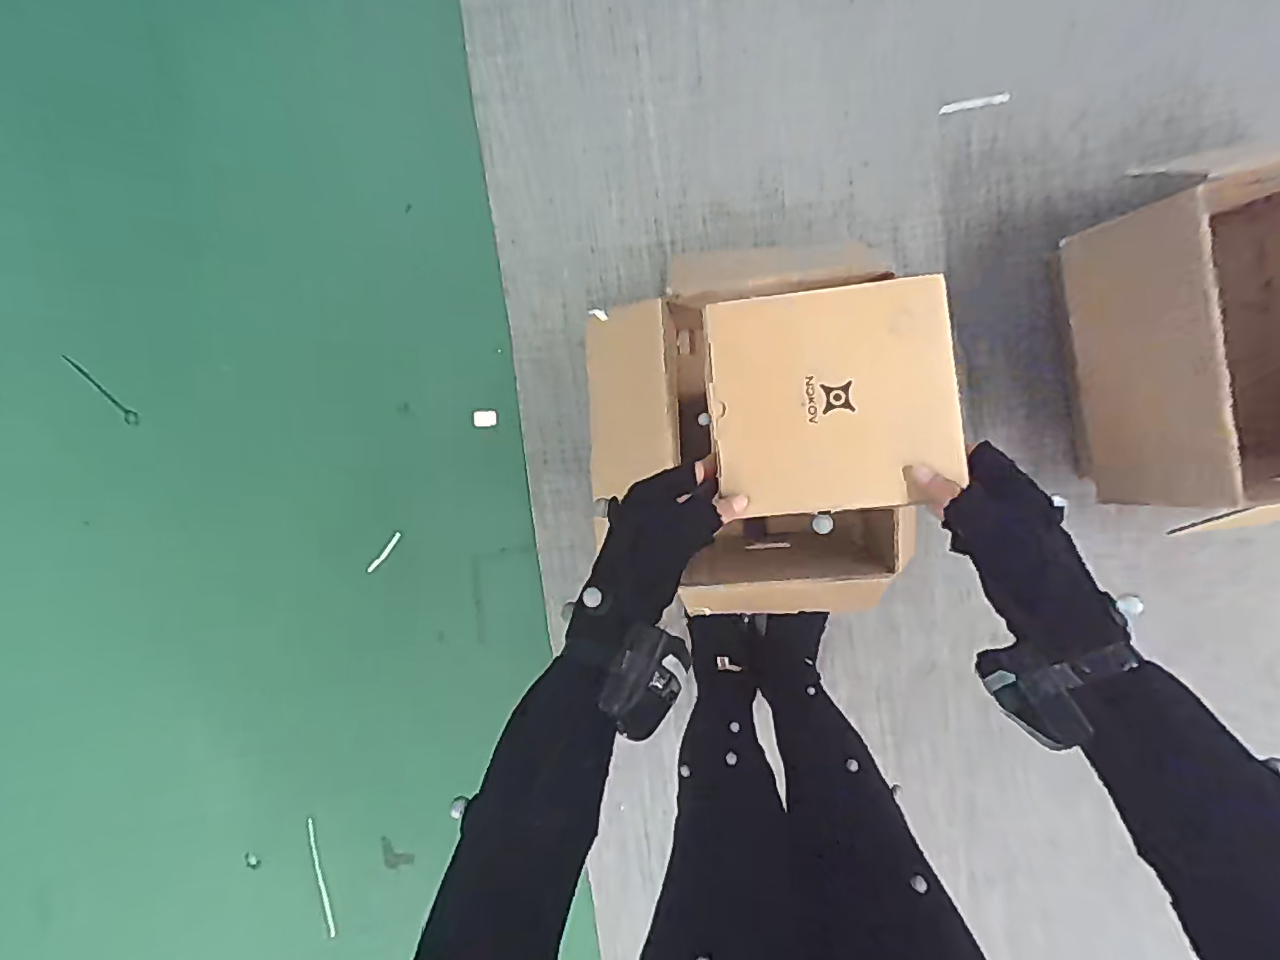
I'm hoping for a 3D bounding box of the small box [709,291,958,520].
[{"bbox_3d":[0.157,-0.052,0.496,0.179,0.176,0.168,-5,85,8],"label":"small box"}]
